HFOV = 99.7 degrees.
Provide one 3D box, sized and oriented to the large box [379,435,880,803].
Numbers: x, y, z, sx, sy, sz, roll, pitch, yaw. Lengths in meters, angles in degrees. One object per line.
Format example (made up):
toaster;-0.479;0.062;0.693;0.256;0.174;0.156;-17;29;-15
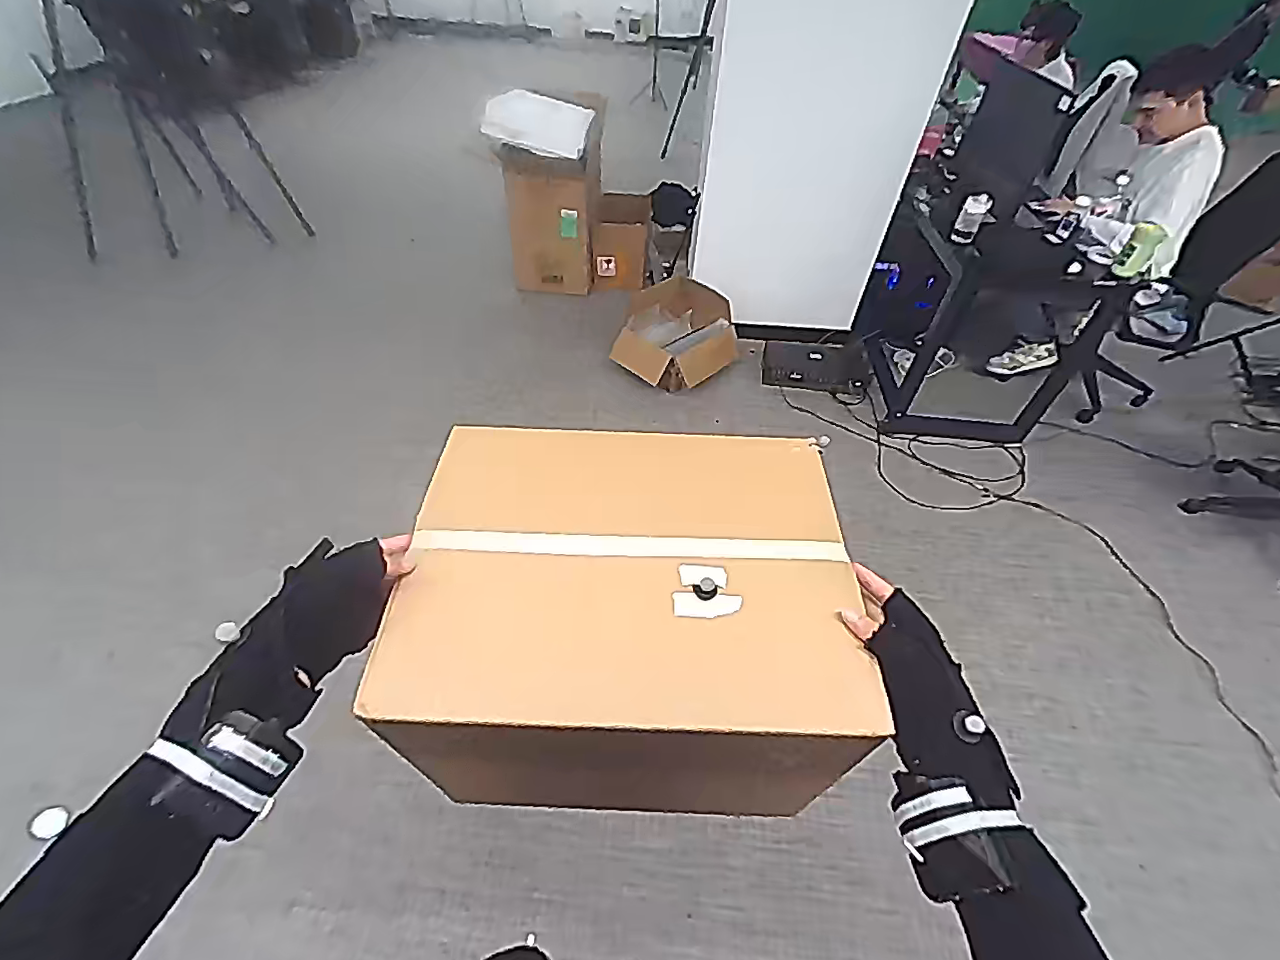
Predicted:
large box;-0.011;0.167;0.630;0.408;0.320;0.320;3;49;-1
